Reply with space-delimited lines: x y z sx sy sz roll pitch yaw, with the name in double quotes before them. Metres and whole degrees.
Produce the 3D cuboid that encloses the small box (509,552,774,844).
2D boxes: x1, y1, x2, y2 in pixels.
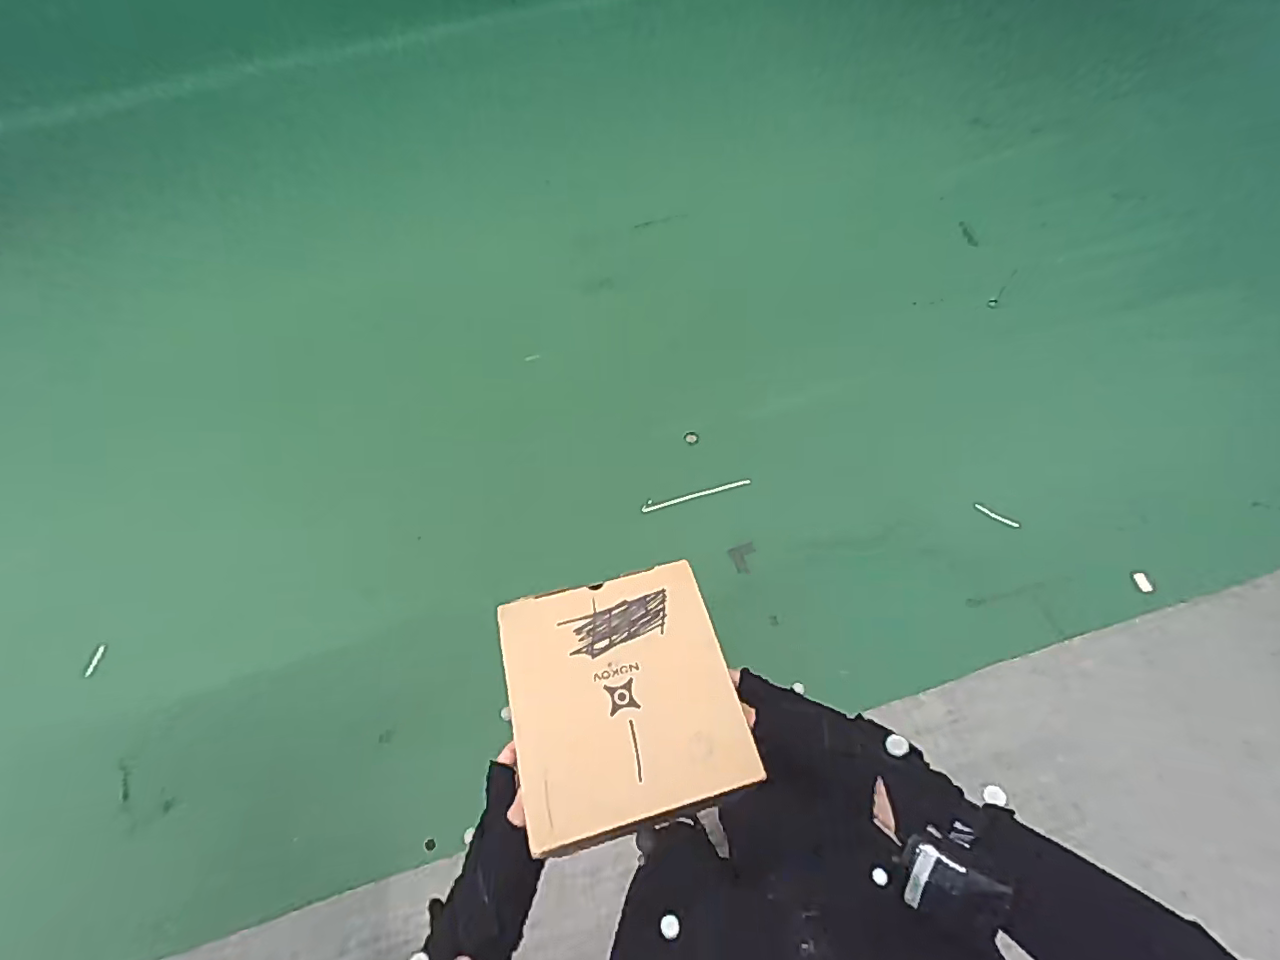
"small box" -0.010 0.188 0.461 0.168 0.176 0.179 -11 57 -9
